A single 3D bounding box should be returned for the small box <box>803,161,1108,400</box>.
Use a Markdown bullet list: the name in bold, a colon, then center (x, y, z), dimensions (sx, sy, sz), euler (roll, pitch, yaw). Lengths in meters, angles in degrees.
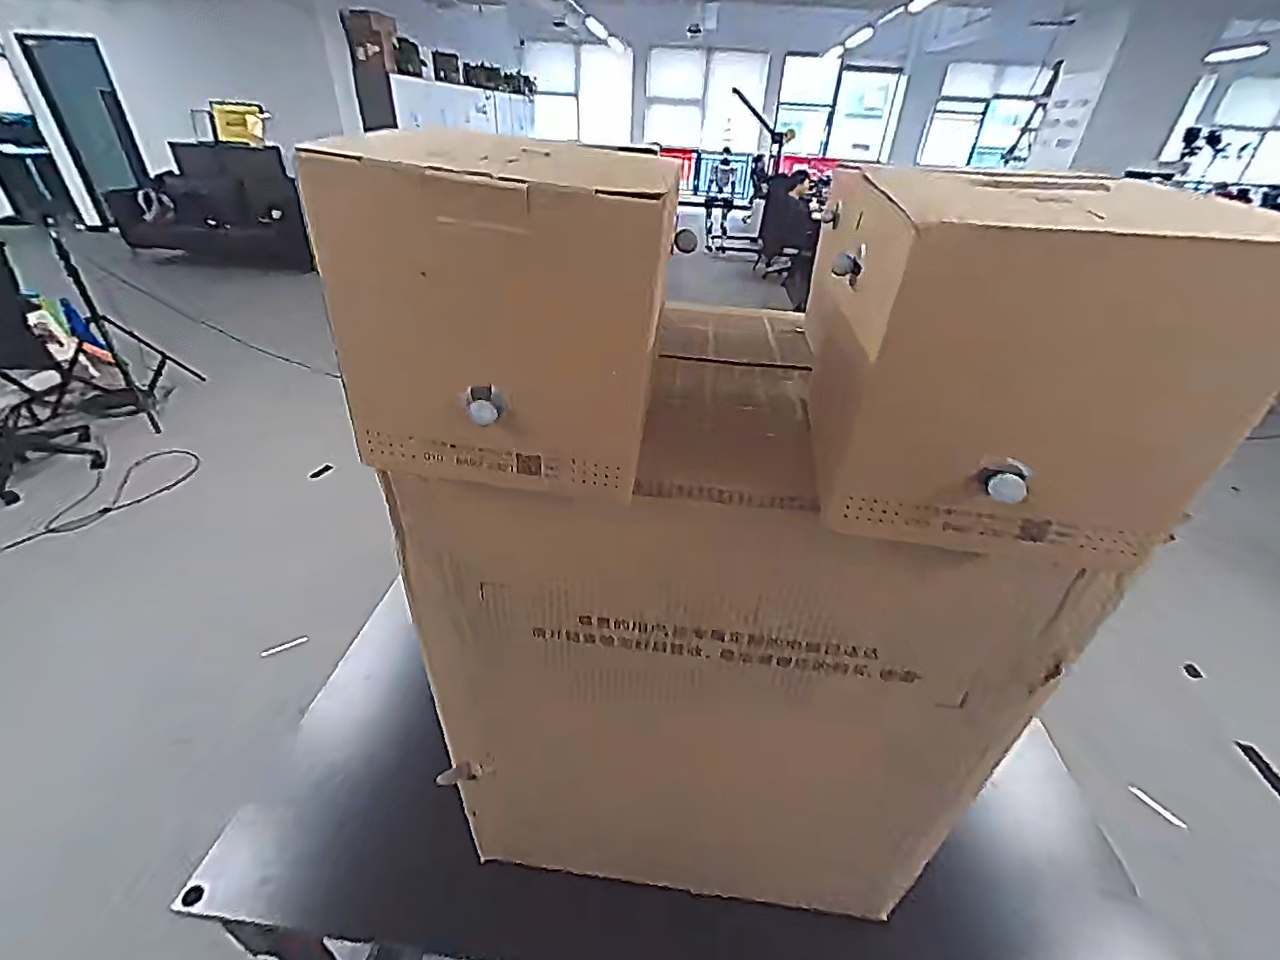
- **small box**: center (0.249, -0.186, 0.488), dimensions (0.168, 0.176, 0.179), euler (5, 32, 7)
